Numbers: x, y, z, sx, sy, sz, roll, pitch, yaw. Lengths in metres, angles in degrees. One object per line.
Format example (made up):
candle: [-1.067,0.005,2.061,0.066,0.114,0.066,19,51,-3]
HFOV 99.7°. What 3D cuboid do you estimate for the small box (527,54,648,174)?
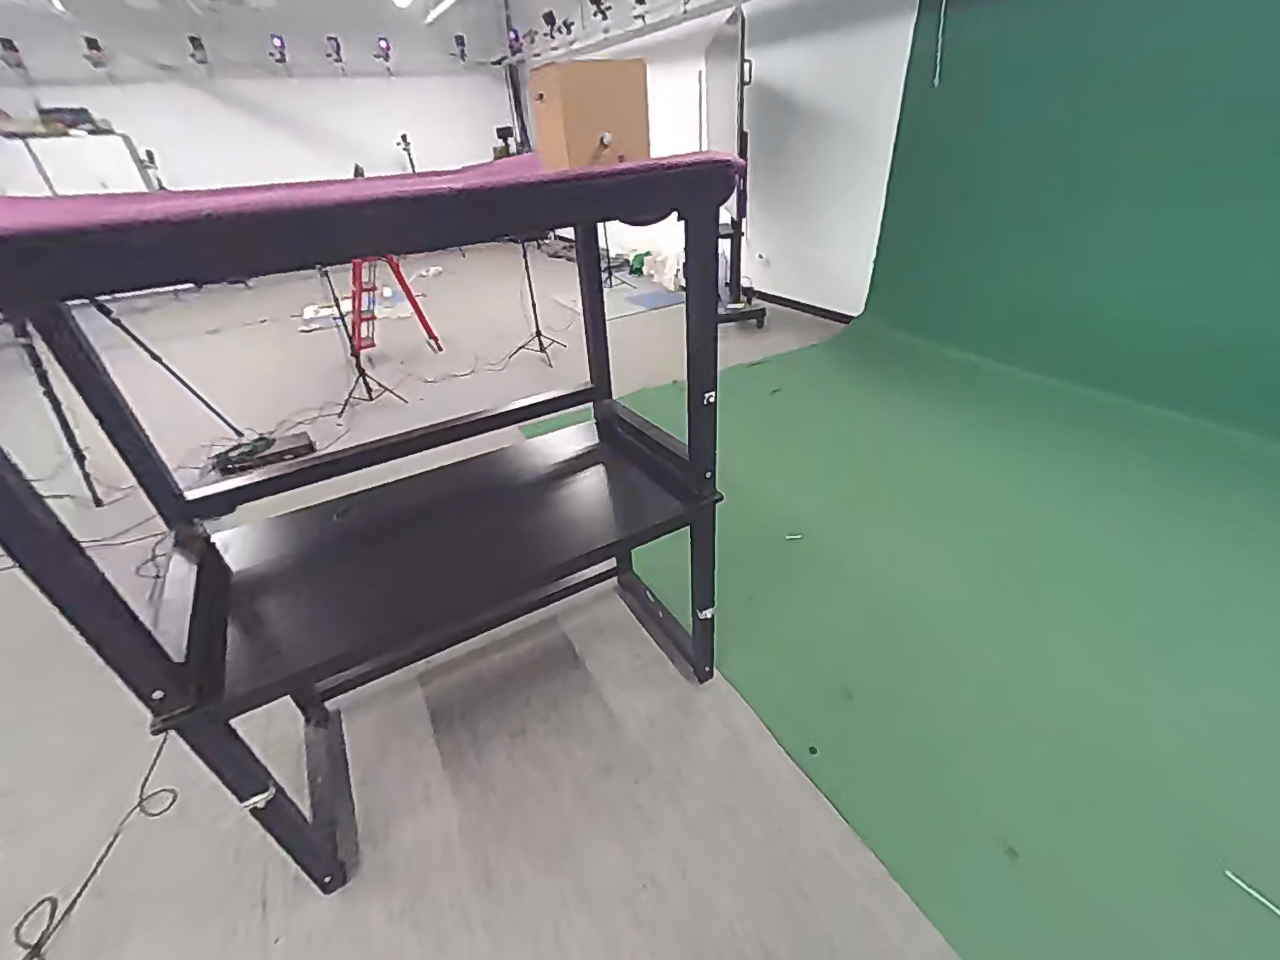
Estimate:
small box: [-0.095,-0.666,0.994,0.168,0.176,0.179,-18,36,-19]
